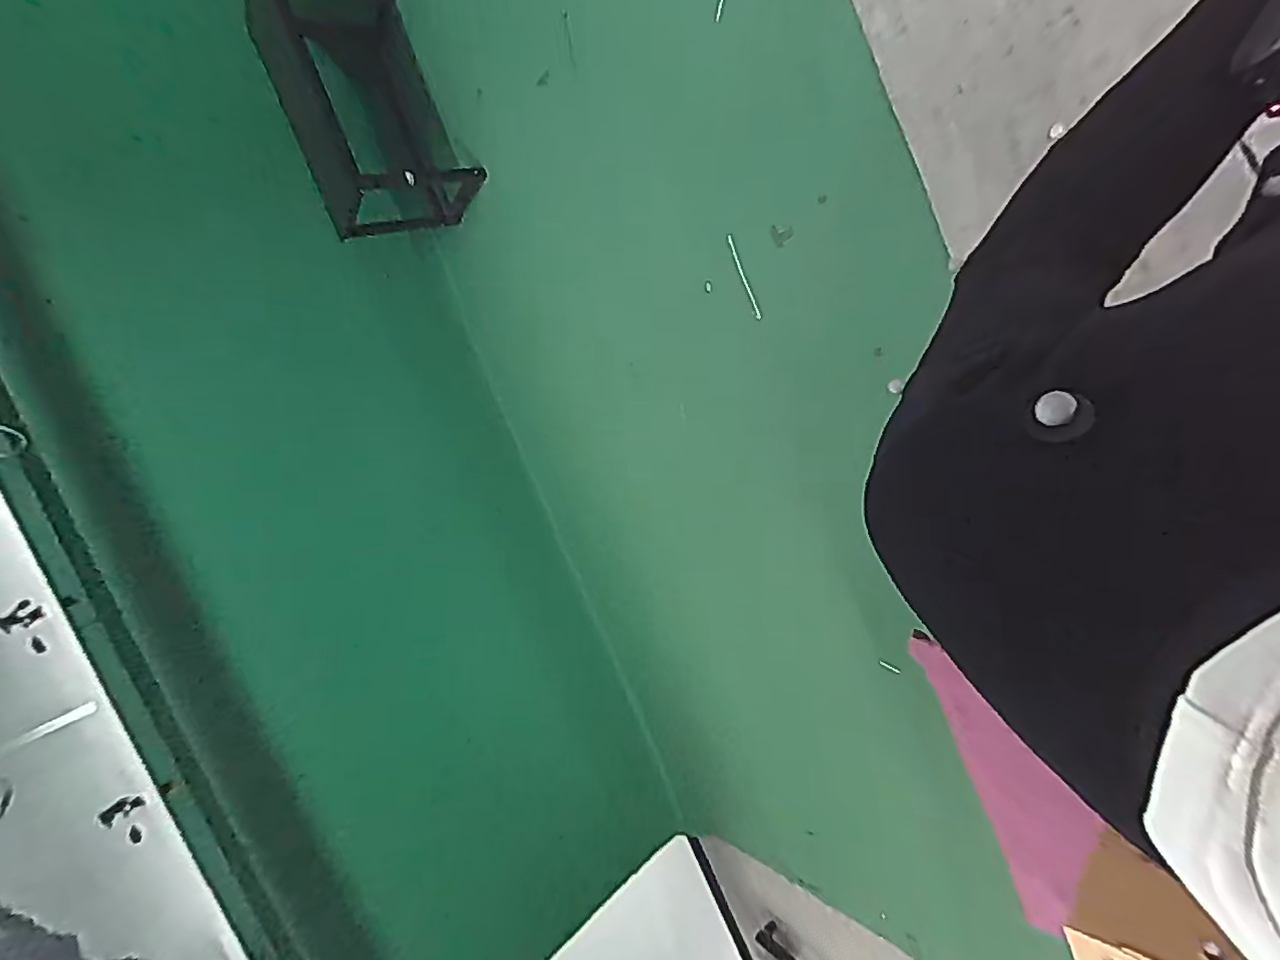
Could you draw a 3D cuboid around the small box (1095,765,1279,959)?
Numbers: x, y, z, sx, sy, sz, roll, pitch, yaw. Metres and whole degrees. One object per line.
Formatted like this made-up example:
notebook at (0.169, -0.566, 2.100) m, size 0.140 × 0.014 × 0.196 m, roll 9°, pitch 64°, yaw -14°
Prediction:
small box at (0.813, 0.556, 0.789) m, size 0.179 × 0.176 × 0.168 m, roll -13°, pitch 101°, yaw 56°
